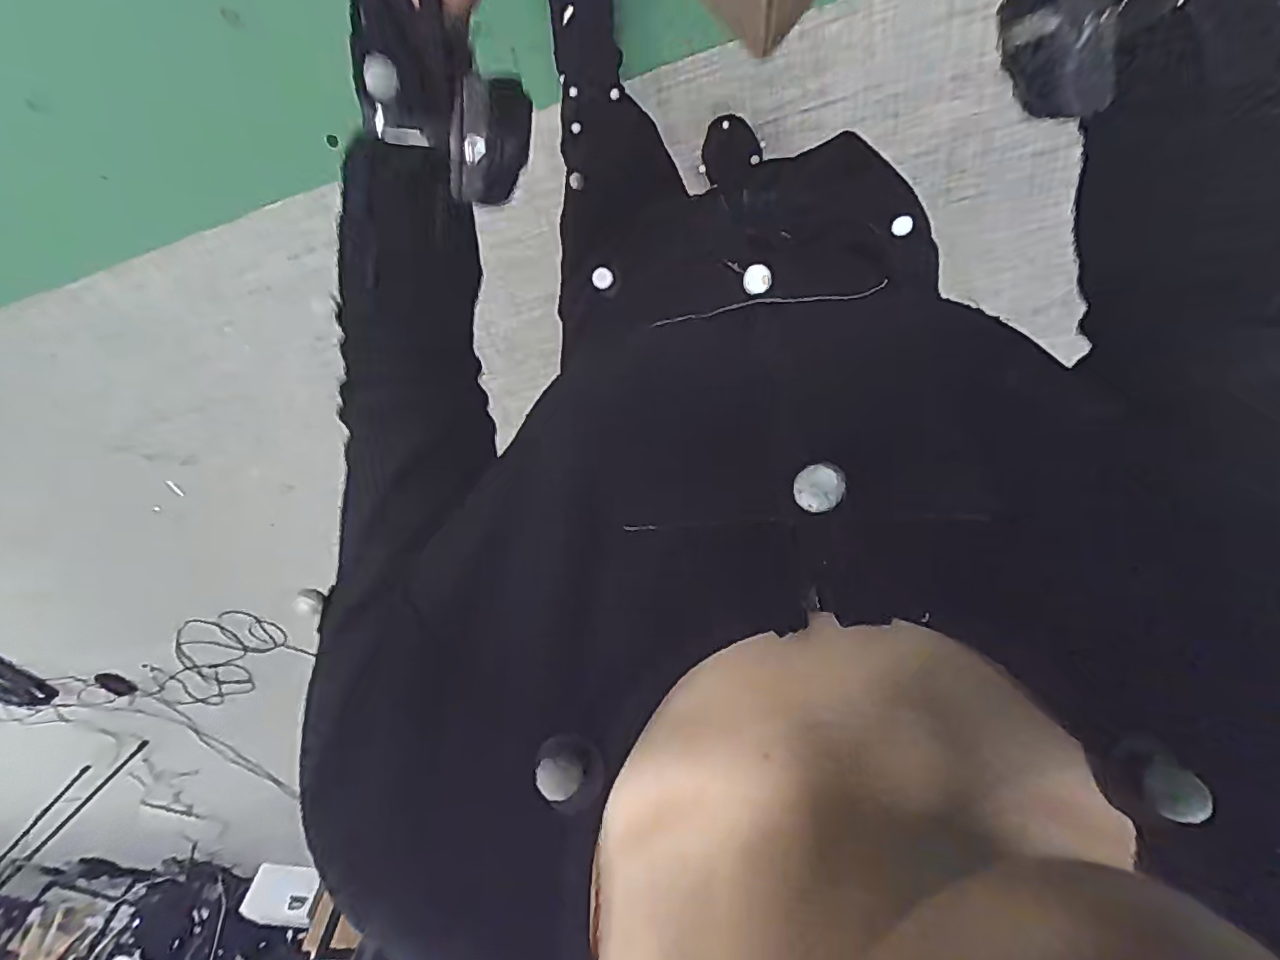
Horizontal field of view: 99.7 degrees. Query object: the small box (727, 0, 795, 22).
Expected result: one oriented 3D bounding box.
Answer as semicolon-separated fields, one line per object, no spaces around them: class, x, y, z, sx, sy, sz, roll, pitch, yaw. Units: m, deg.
small box;0.041;-0.290;0.155;0.168;0.176;0.179;41;120;-11
